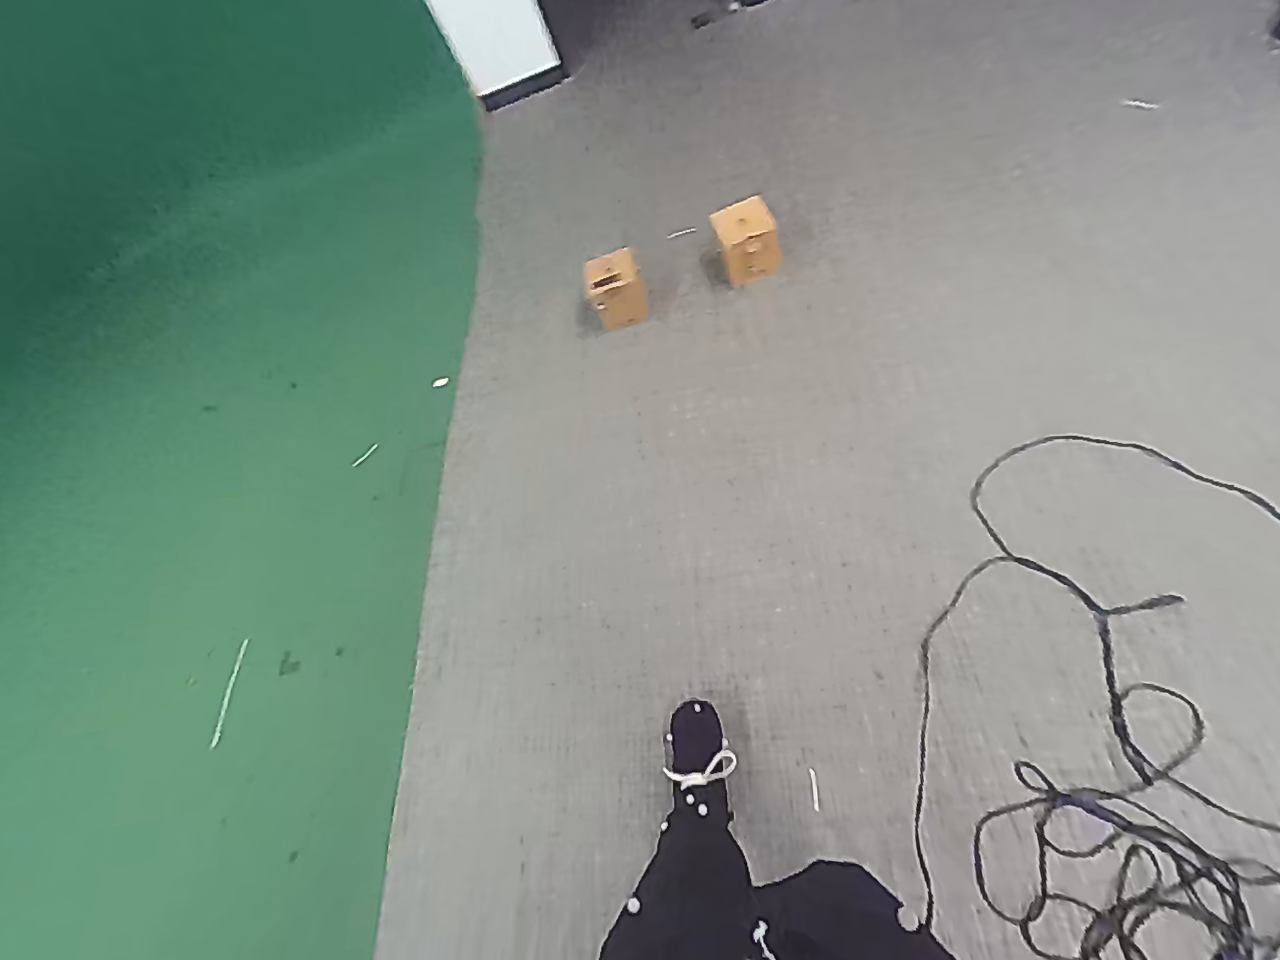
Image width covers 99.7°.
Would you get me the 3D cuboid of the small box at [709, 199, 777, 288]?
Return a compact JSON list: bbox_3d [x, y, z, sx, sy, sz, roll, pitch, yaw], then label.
[{"bbox_3d":[0.334,-0.755,1.739,0.168,0.176,0.179,-20,59,8],"label":"small box"}]
